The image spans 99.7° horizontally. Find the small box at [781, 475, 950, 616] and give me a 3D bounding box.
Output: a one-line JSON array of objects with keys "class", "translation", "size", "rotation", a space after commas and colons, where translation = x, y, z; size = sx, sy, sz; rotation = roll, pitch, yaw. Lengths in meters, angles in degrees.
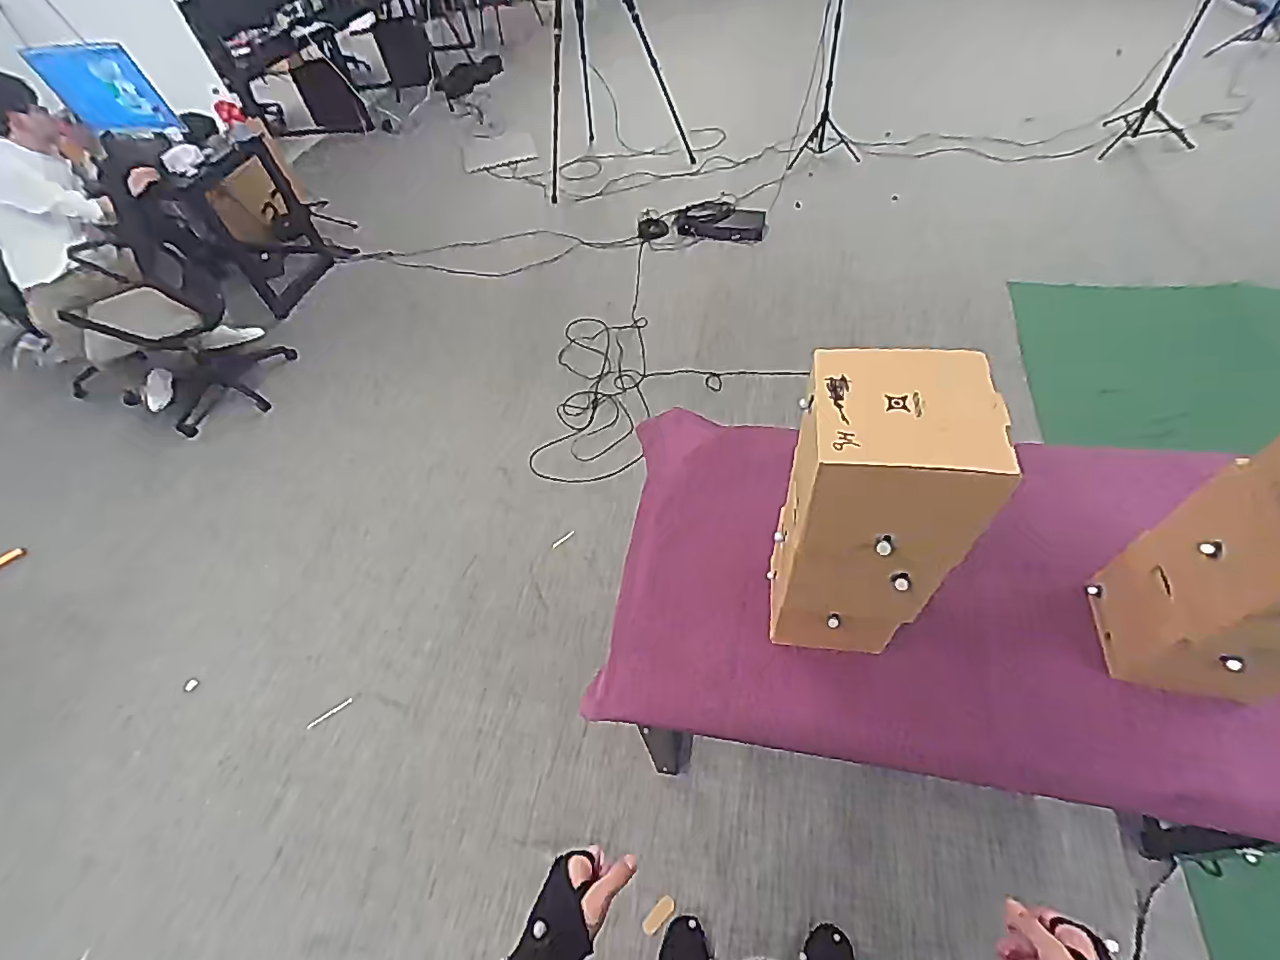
[{"class": "small box", "translation": [0.291, 0.072, 0.735], "size": [0.179, 0.176, 0.168], "rotation": [4, 53, 12]}]

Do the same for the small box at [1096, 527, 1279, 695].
[{"class": "small box", "translation": [0.798, 0.189, 0.771], "size": [0.179, 0.176, 0.168], "rotation": [7, 54, 14]}]

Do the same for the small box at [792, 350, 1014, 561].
[{"class": "small box", "translation": [0.271, -0.023, 0.604], "size": [0.179, 0.176, 0.168], "rotation": [4, 54, 11]}]

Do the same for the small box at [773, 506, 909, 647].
[{"class": "small box", "translation": [0.312, 0.159, 0.875], "size": [0.179, 0.176, 0.168], "rotation": [3, 54, 12]}]
